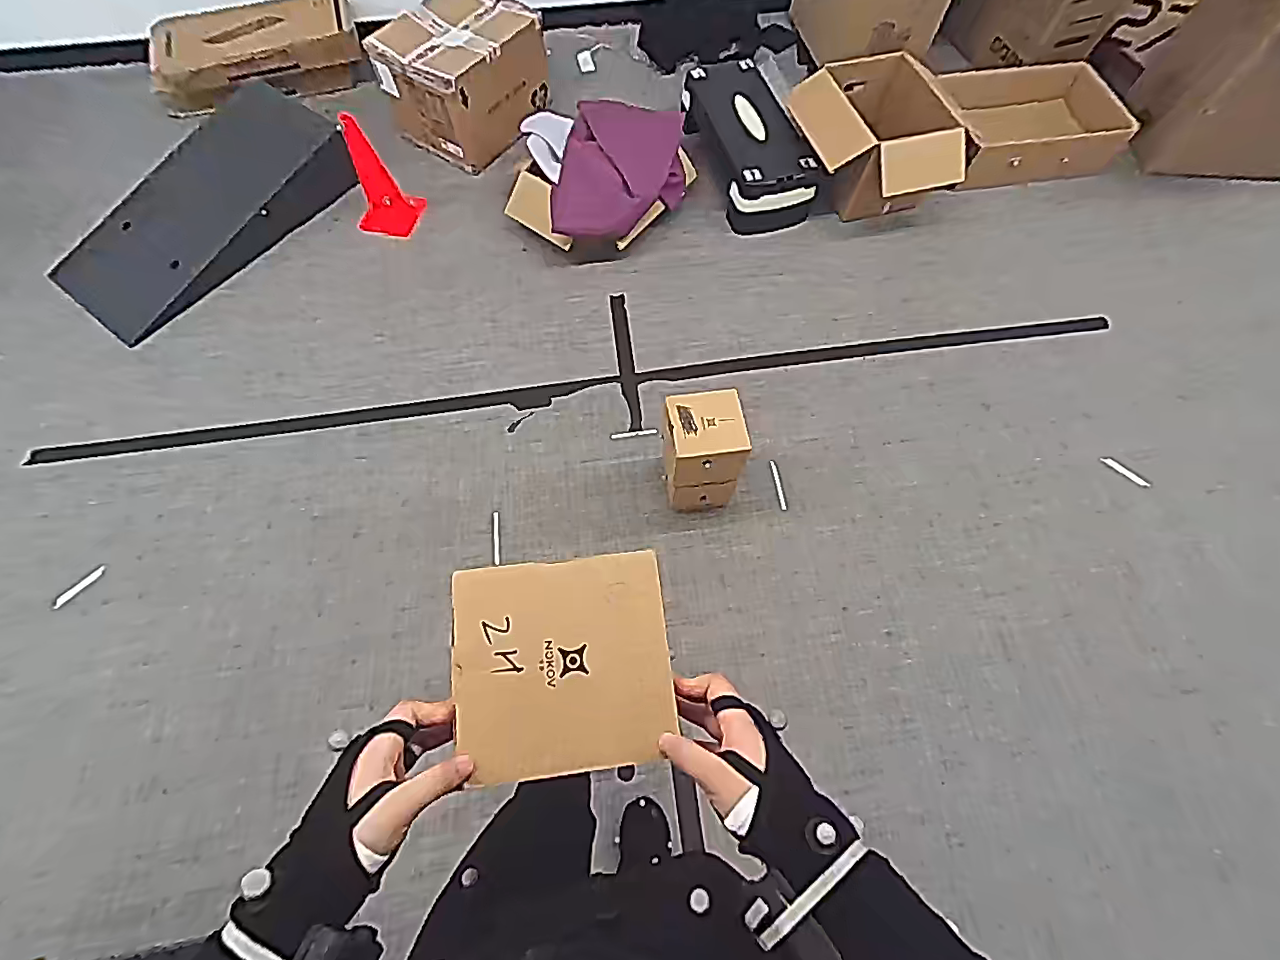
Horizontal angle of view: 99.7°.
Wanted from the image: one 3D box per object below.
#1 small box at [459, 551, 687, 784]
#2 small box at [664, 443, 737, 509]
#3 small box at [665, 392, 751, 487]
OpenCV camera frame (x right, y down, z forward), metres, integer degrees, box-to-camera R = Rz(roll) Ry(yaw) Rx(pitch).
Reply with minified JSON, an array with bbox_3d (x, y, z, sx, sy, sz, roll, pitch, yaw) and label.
[{"bbox_3d":[-0.063,0.169,0.512,0.179,0.176,0.168,-5,71,-5],"label":"small box"},{"bbox_3d":[0.159,-0.027,1.471,0.168,0.176,0.179,-6,67,-3],"label":"small box"},{"bbox_3d":[0.156,-0.093,1.319,0.179,0.176,0.168,-7,67,-4],"label":"small box"}]
